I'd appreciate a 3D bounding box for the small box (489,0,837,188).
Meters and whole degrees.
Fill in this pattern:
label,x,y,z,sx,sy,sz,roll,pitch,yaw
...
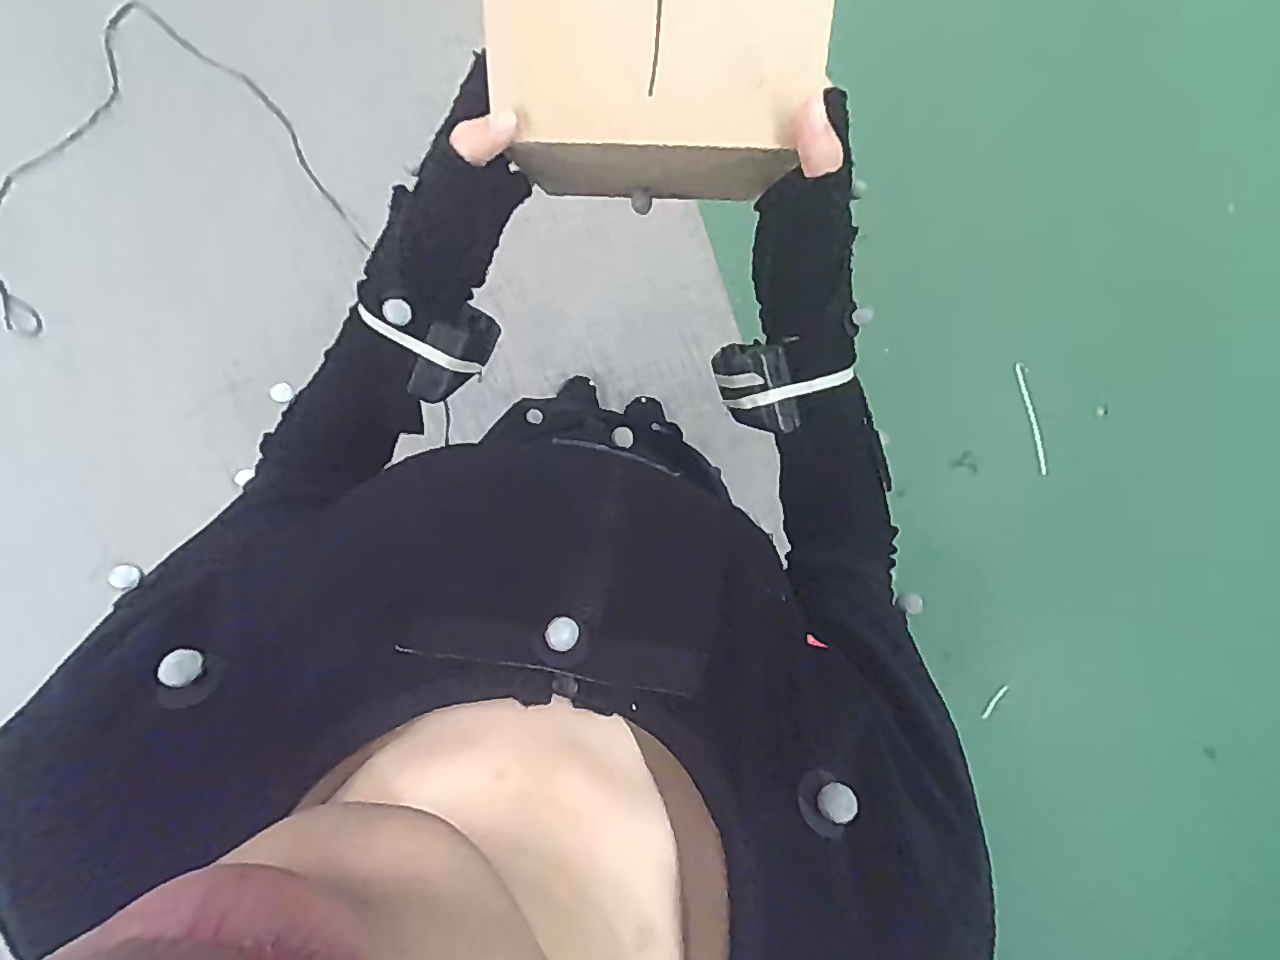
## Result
label,x,y,z,sx,sy,sz,roll,pitch,yaw
small box,0.011,-0.286,0.316,0.168,0.176,0.179,1,110,0
